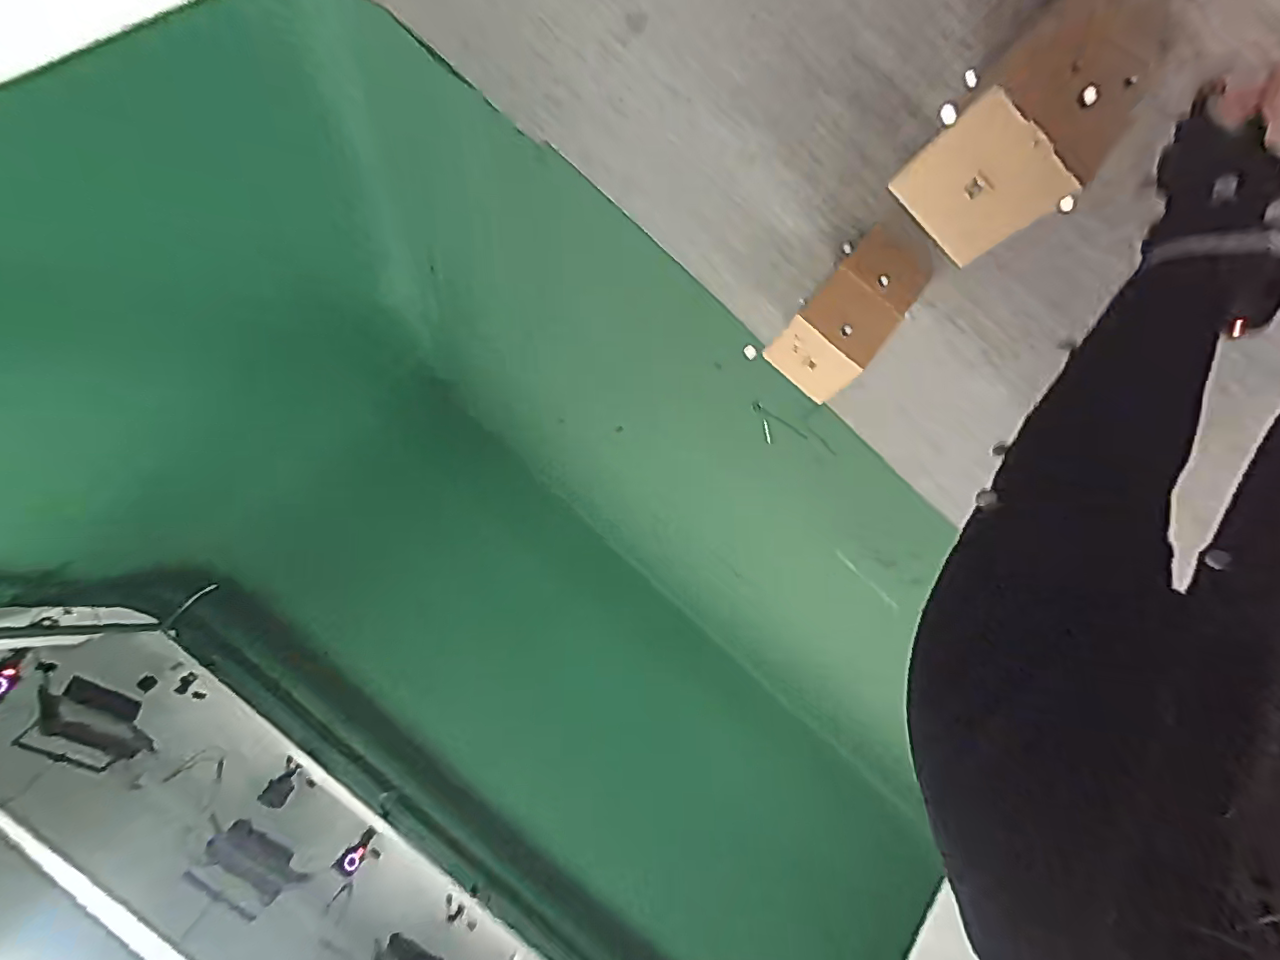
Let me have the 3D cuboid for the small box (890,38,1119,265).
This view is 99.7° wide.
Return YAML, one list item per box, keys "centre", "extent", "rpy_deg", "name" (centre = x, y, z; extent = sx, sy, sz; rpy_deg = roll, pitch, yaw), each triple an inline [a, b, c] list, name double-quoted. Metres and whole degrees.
- centre: [0.500, -0.447, 0.751]
  extent: [0.168, 0.176, 0.179]
  rpy_deg: [45, 159, -6]
  name: "small box"

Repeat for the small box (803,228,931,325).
- centre: [0.517, -0.429, 1.231]
  extent: [0.179, 0.176, 0.168]
  rpy_deg: [43, 159, -1]
  name: "small box"

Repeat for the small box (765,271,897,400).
- centre: [0.415, -0.313, 1.176]
  extent: [0.179, 0.176, 0.168]
  rpy_deg: [42, 159, 0]
  name: "small box"
